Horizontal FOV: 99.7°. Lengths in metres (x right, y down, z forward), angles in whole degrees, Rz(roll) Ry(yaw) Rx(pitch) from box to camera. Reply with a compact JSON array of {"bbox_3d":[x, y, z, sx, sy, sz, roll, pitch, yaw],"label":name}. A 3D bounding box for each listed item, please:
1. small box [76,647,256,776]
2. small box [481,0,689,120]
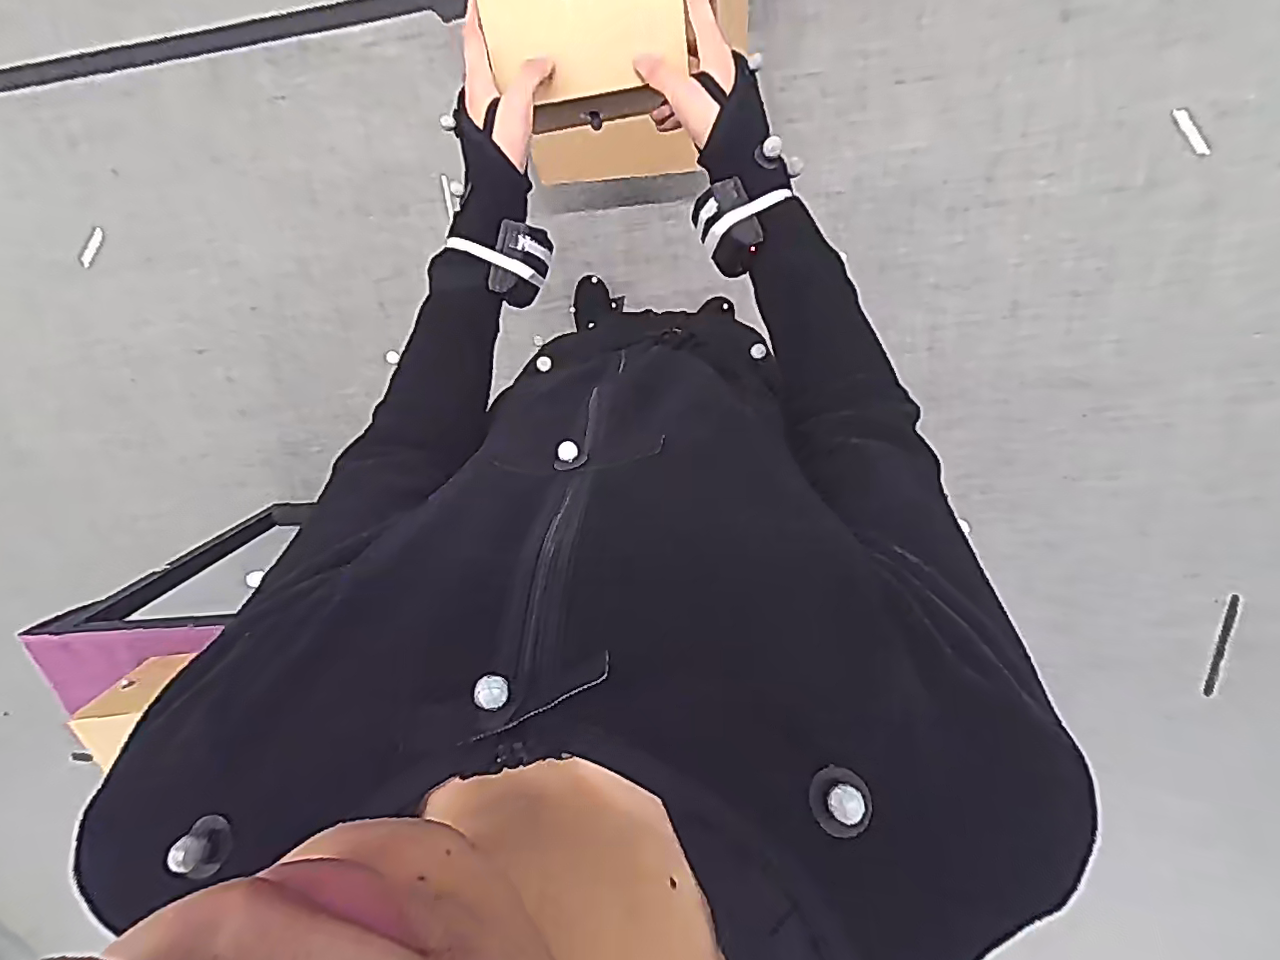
[{"bbox_3d":[-0.923,0.454,1.072,0.179,0.176,0.168,-8,112,8],"label":"small box"},{"bbox_3d":[-0.050,-0.447,0.494,0.168,0.176,0.179,-9,117,3],"label":"small box"}]
